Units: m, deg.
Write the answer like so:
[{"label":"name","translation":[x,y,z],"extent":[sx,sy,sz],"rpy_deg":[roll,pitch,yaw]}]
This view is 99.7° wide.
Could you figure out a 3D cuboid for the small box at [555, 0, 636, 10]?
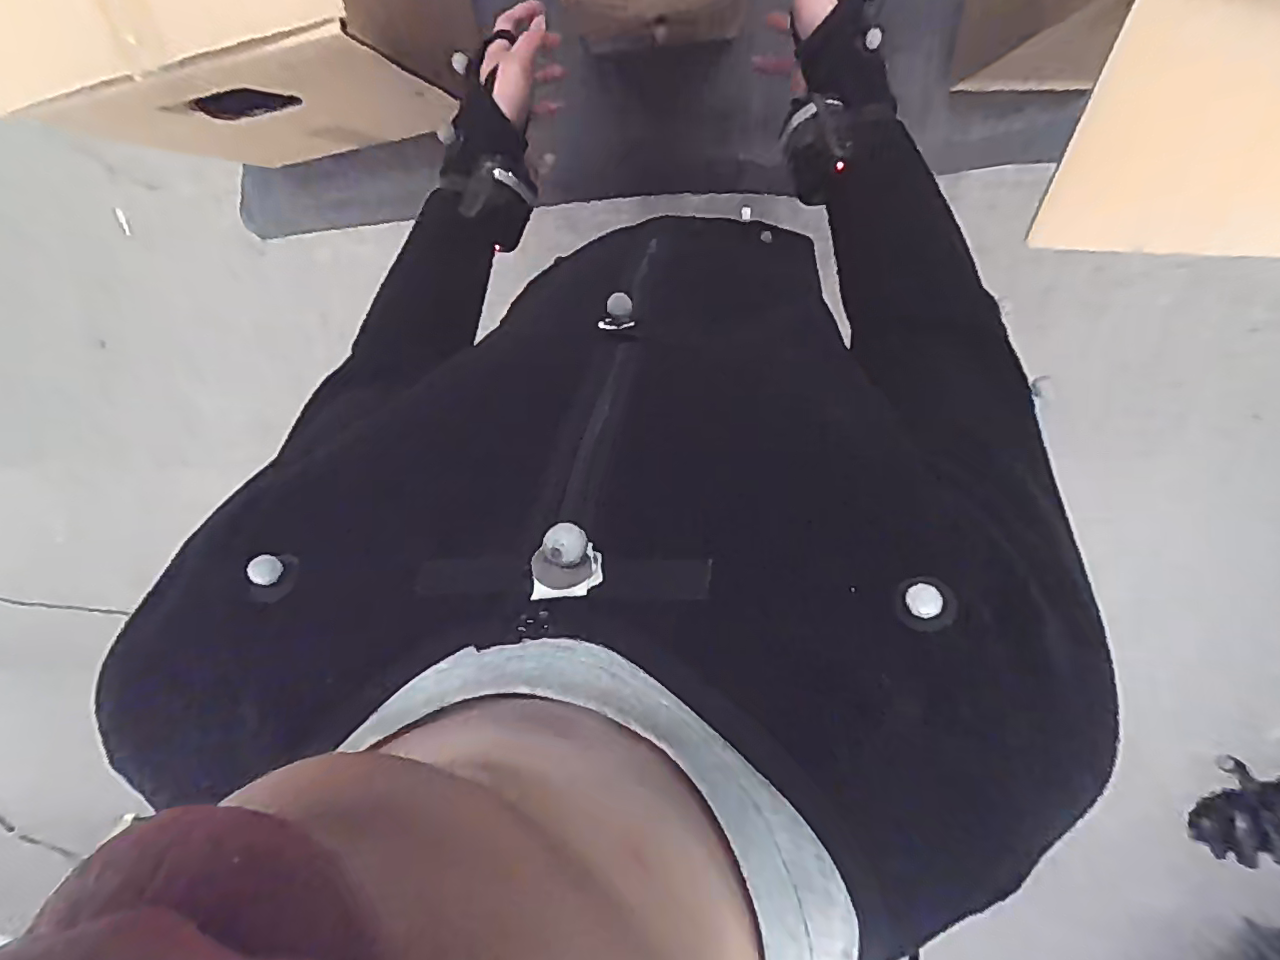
[{"label":"small box","translation":[-0.009,-0.437,0.343],"extent":[0.168,0.176,0.179],"rpy_deg":[-2,114,7]}]
